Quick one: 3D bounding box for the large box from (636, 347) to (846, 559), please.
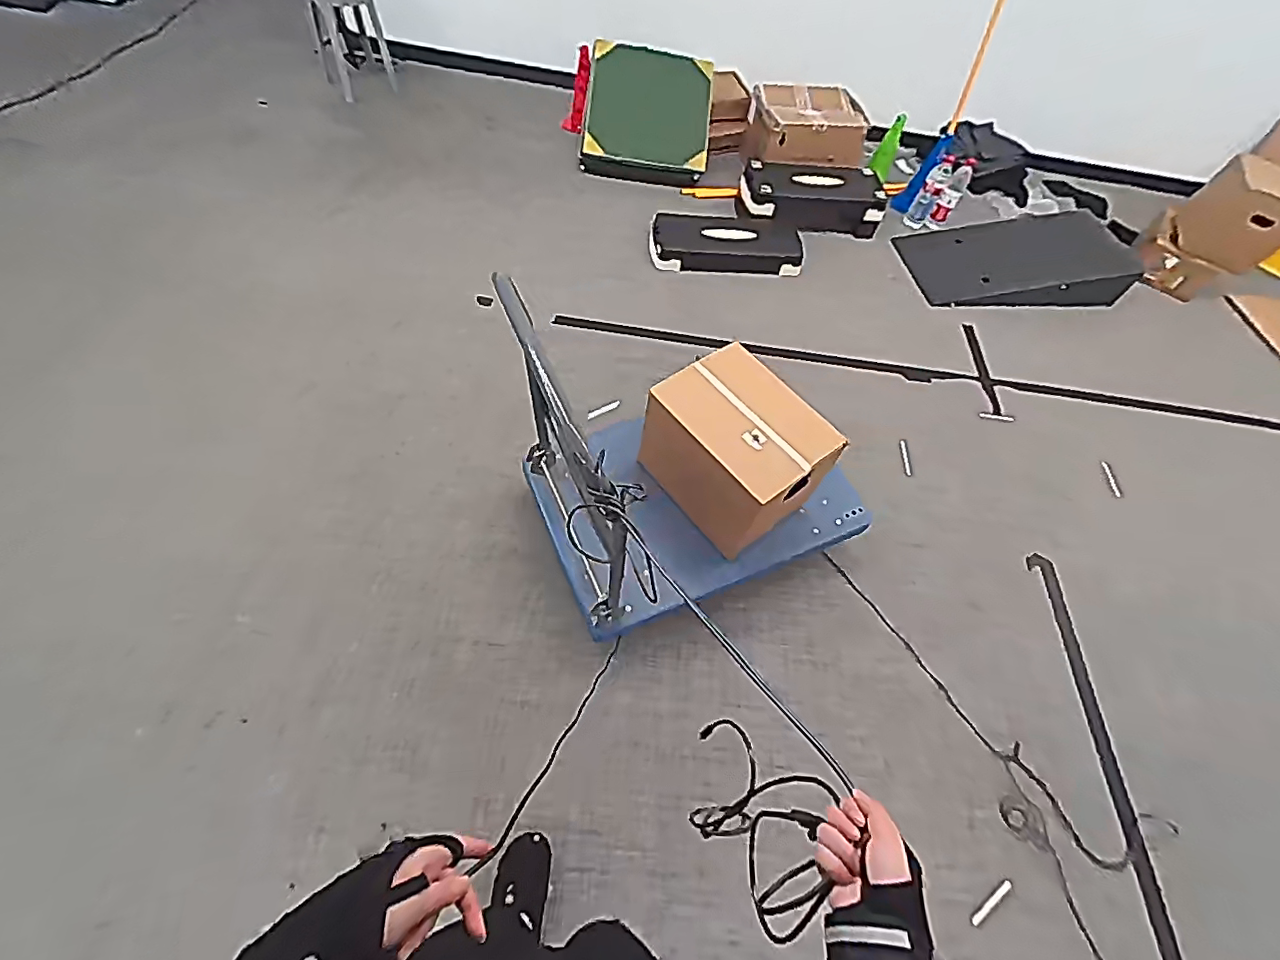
[{"bbox_3d":[0.243,-0.073,1.443,0.320,0.320,0.408,-33,68,-23],"label":"large box"}]
